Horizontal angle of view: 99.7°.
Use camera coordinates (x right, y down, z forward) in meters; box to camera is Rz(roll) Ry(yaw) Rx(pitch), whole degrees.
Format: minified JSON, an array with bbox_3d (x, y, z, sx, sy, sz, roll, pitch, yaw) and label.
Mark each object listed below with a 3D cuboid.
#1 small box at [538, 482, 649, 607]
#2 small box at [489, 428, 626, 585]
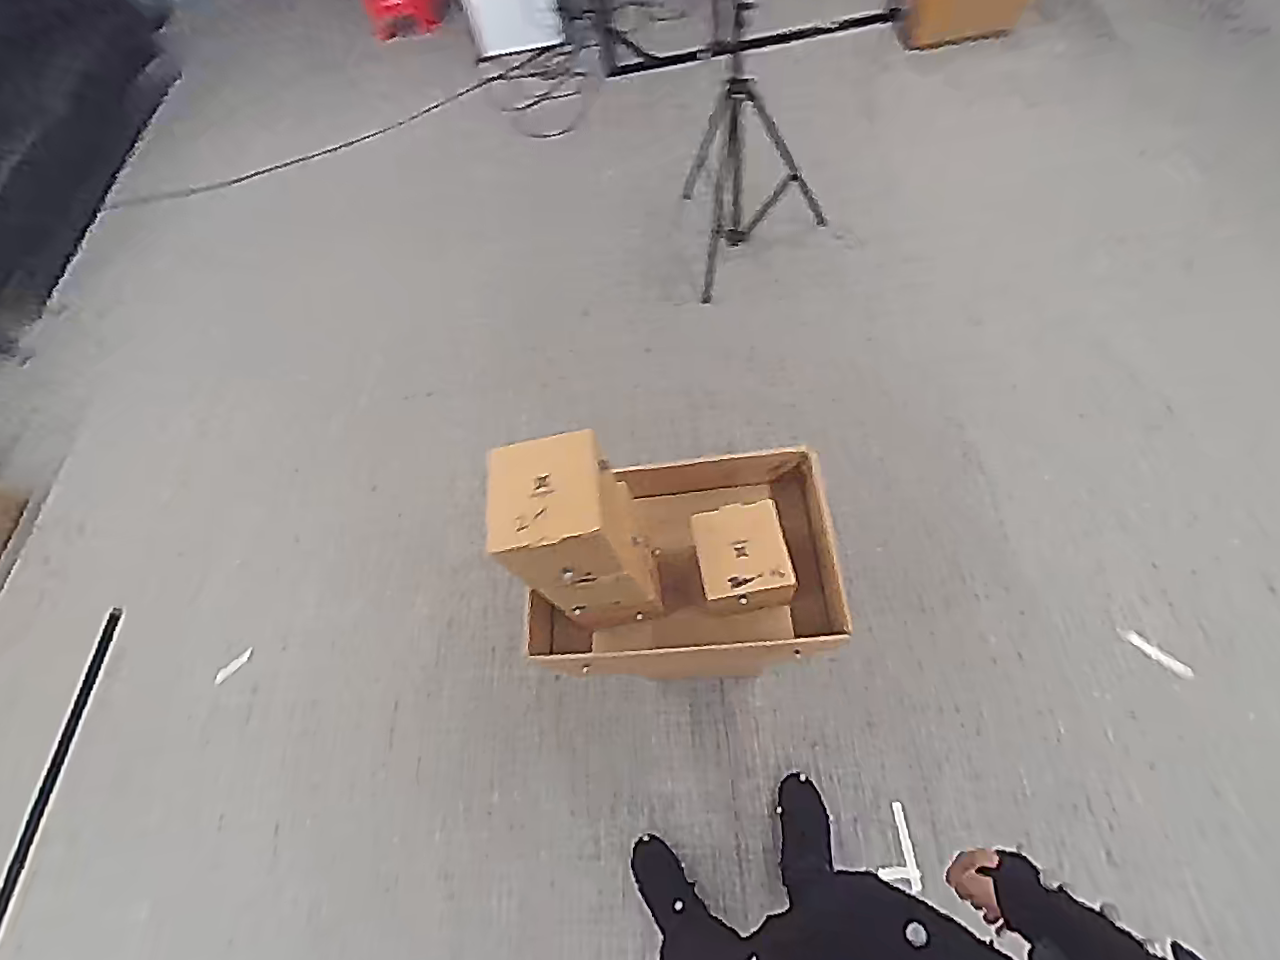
[{"bbox_3d":[-0.081,0.126,0.987,0.168,0.176,0.179,-9,61,6],"label":"small box"},{"bbox_3d":[-0.123,0.048,0.847,0.168,0.176,0.179,-11,61,6],"label":"small box"}]
